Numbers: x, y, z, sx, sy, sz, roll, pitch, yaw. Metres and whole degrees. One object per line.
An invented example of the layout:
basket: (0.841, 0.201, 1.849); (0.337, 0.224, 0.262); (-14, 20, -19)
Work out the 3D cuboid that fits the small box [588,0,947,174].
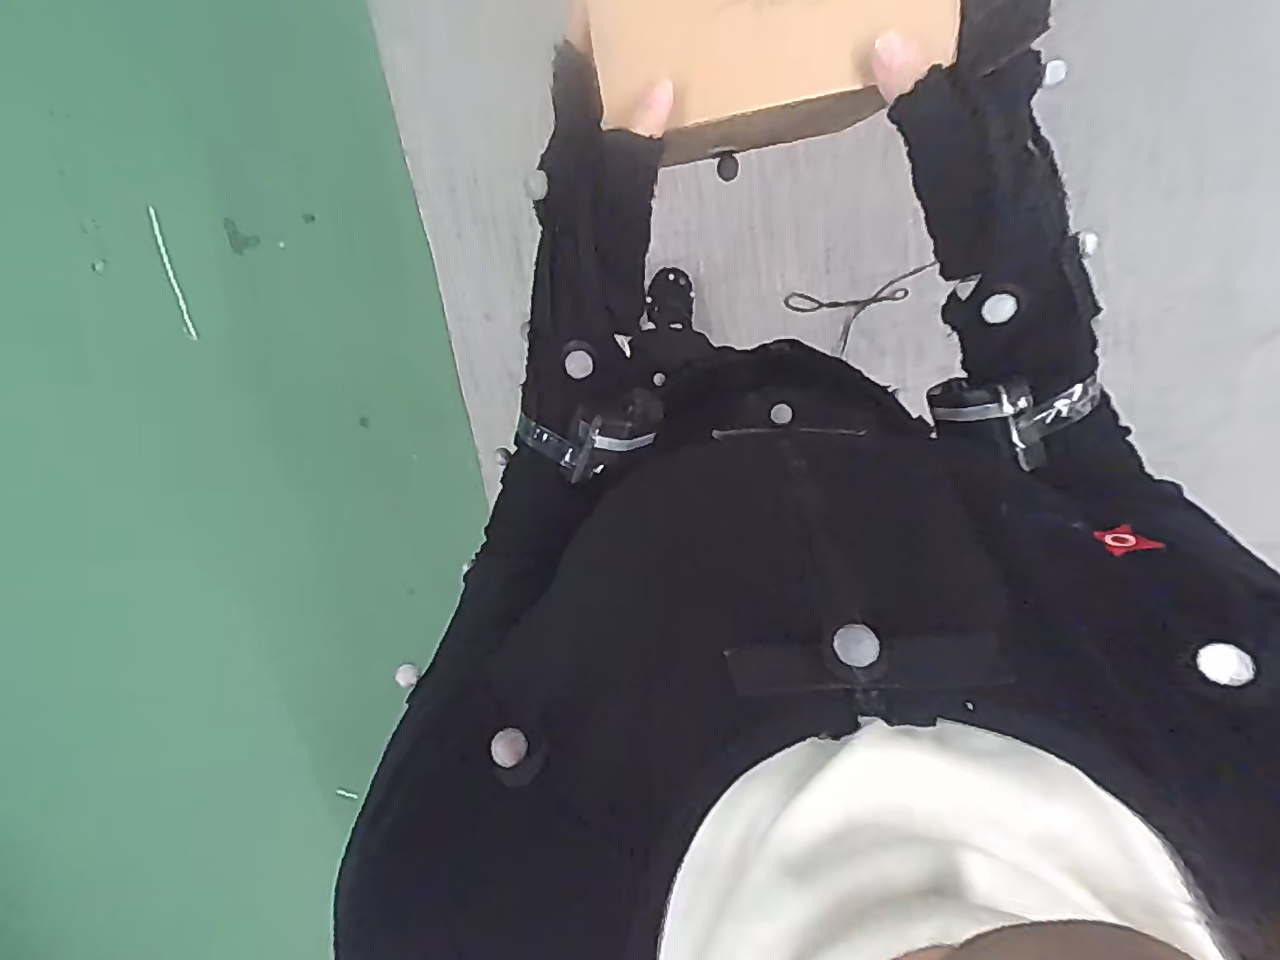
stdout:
small box: (0.053, -0.294, 0.306); (0.168, 0.176, 0.179); (-8, 113, 6)
